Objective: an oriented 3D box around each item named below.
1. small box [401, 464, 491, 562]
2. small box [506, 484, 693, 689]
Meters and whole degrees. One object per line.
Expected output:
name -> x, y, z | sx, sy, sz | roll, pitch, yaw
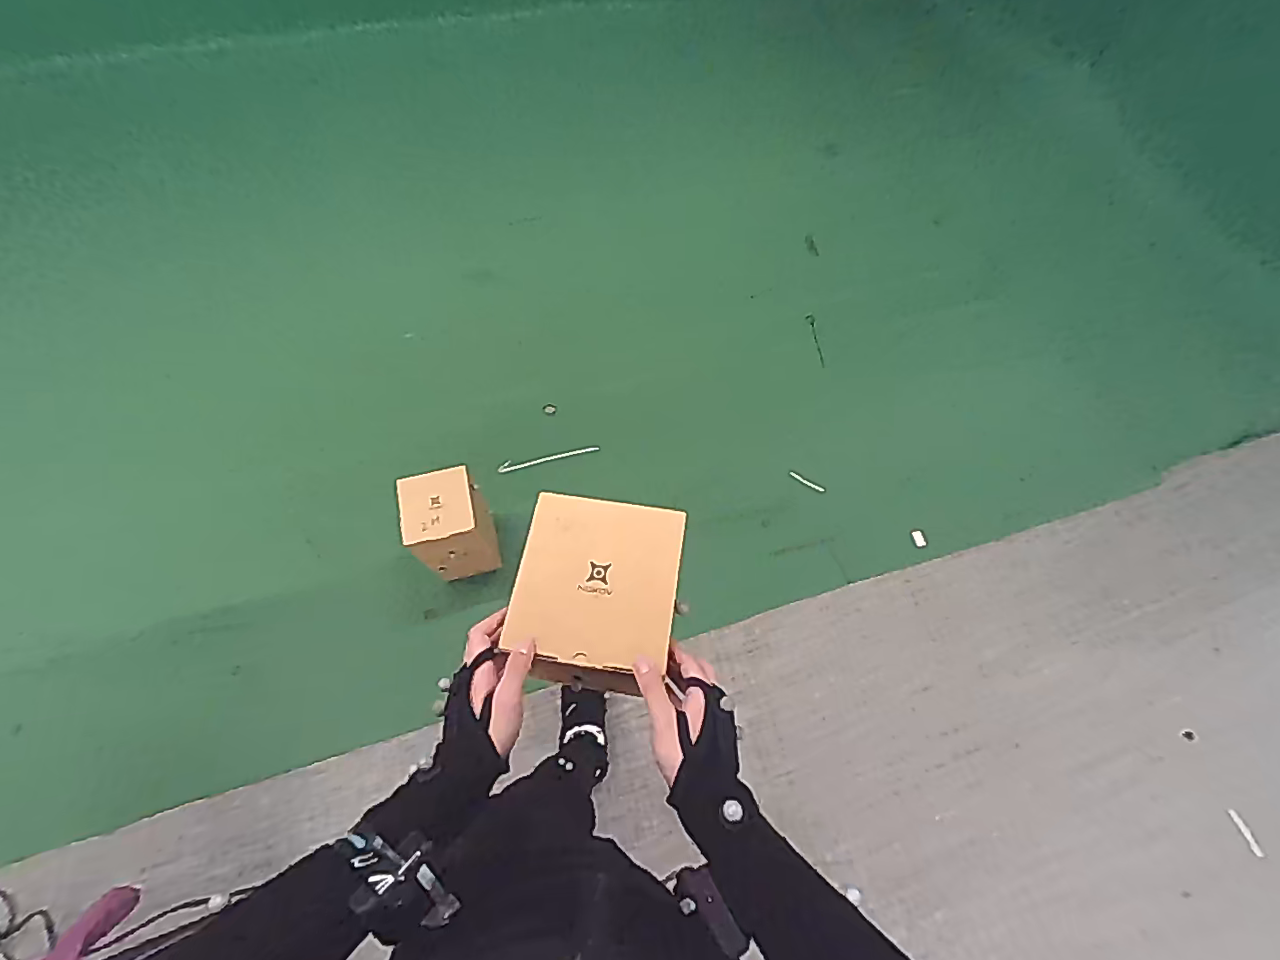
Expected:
small box -> -0.479, 0.085, 1.347 | 0.168, 0.176, 0.179 | -13, 67, -8
small box -> -0.038, 0.129, 0.624 | 0.168, 0.176, 0.179 | 8, 63, 4
